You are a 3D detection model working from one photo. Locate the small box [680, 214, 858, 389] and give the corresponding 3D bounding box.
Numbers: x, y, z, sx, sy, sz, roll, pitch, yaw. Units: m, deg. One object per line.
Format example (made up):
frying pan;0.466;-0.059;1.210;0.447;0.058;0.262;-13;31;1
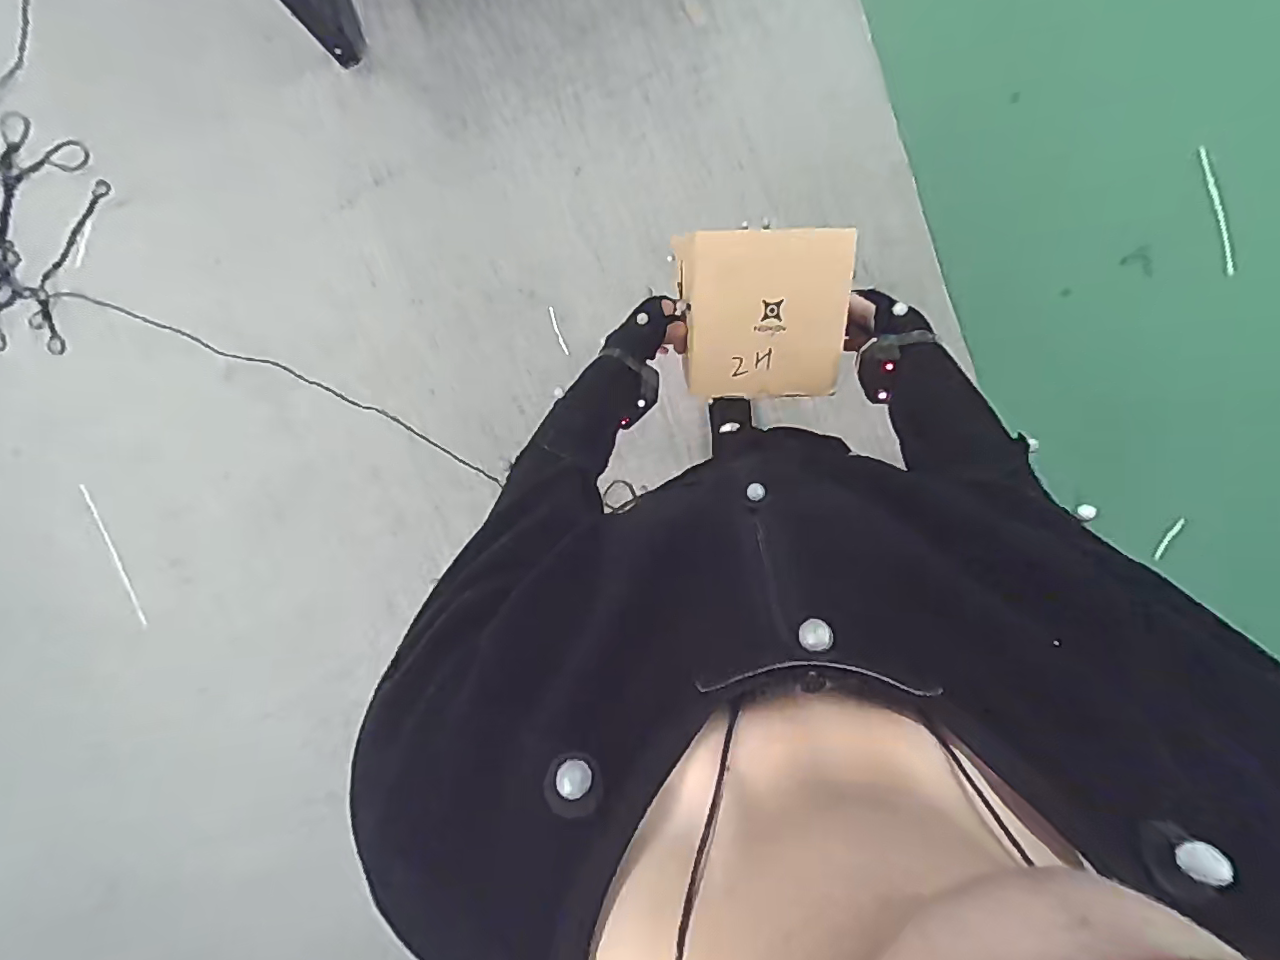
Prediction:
small box;0.135;-0.212;0.639;0.168;0.176;0.179;0;114;0
